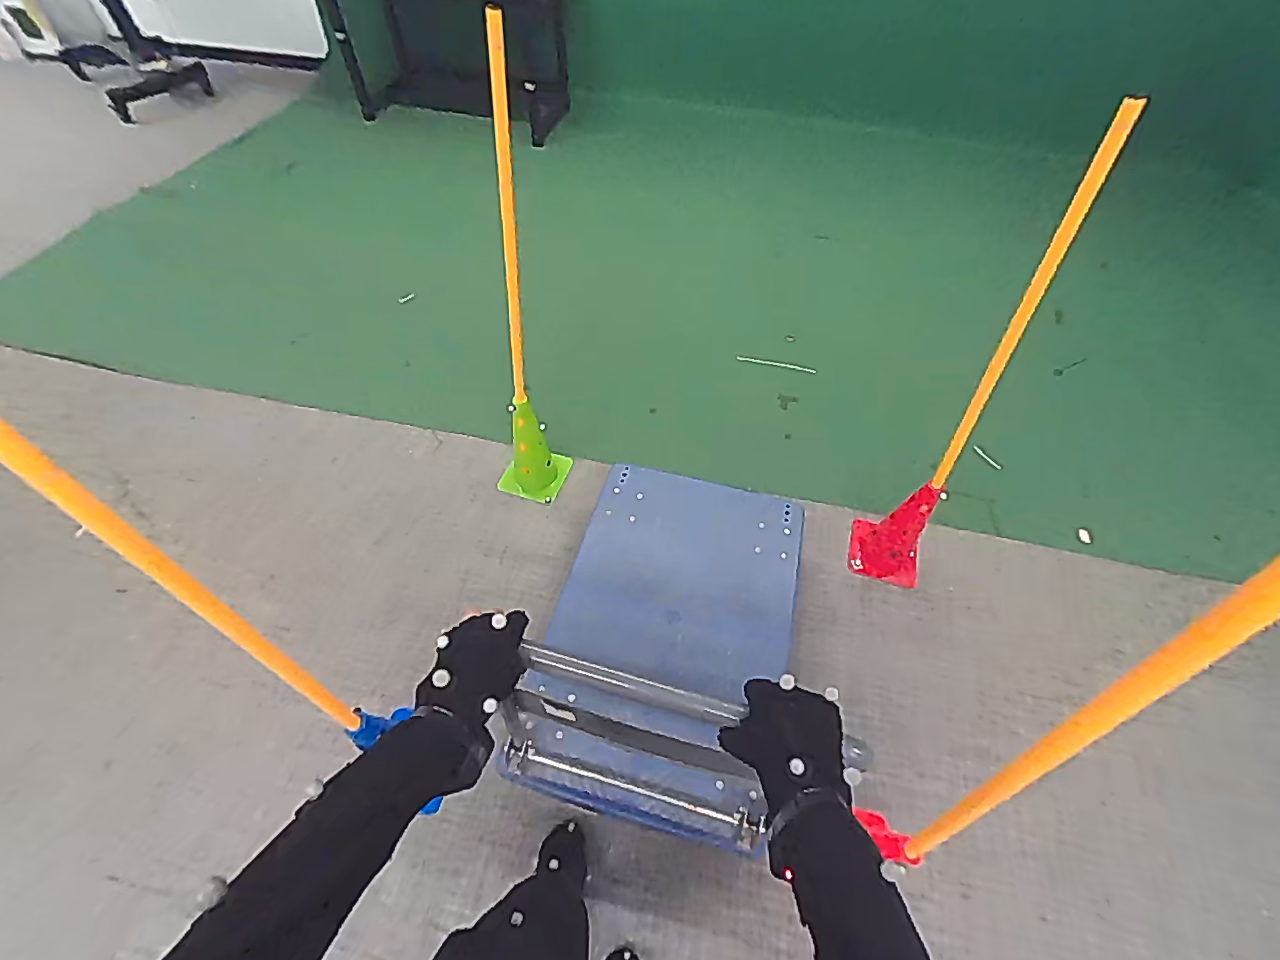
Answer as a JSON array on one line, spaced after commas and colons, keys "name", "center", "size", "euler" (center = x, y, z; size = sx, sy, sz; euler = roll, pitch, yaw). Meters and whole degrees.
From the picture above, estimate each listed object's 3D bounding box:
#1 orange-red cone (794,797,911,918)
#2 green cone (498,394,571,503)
[{"name": "orange-red cone", "center": [0.448, 0.734, 1.073], "size": [0.199, 0.360, 0.198], "euler": [10, 53, 7]}, {"name": "green cone", "center": [-0.349, -0.124, 1.681], "size": [0.202, 0.368, 0.200], "euler": [14, 53, 10]}]
